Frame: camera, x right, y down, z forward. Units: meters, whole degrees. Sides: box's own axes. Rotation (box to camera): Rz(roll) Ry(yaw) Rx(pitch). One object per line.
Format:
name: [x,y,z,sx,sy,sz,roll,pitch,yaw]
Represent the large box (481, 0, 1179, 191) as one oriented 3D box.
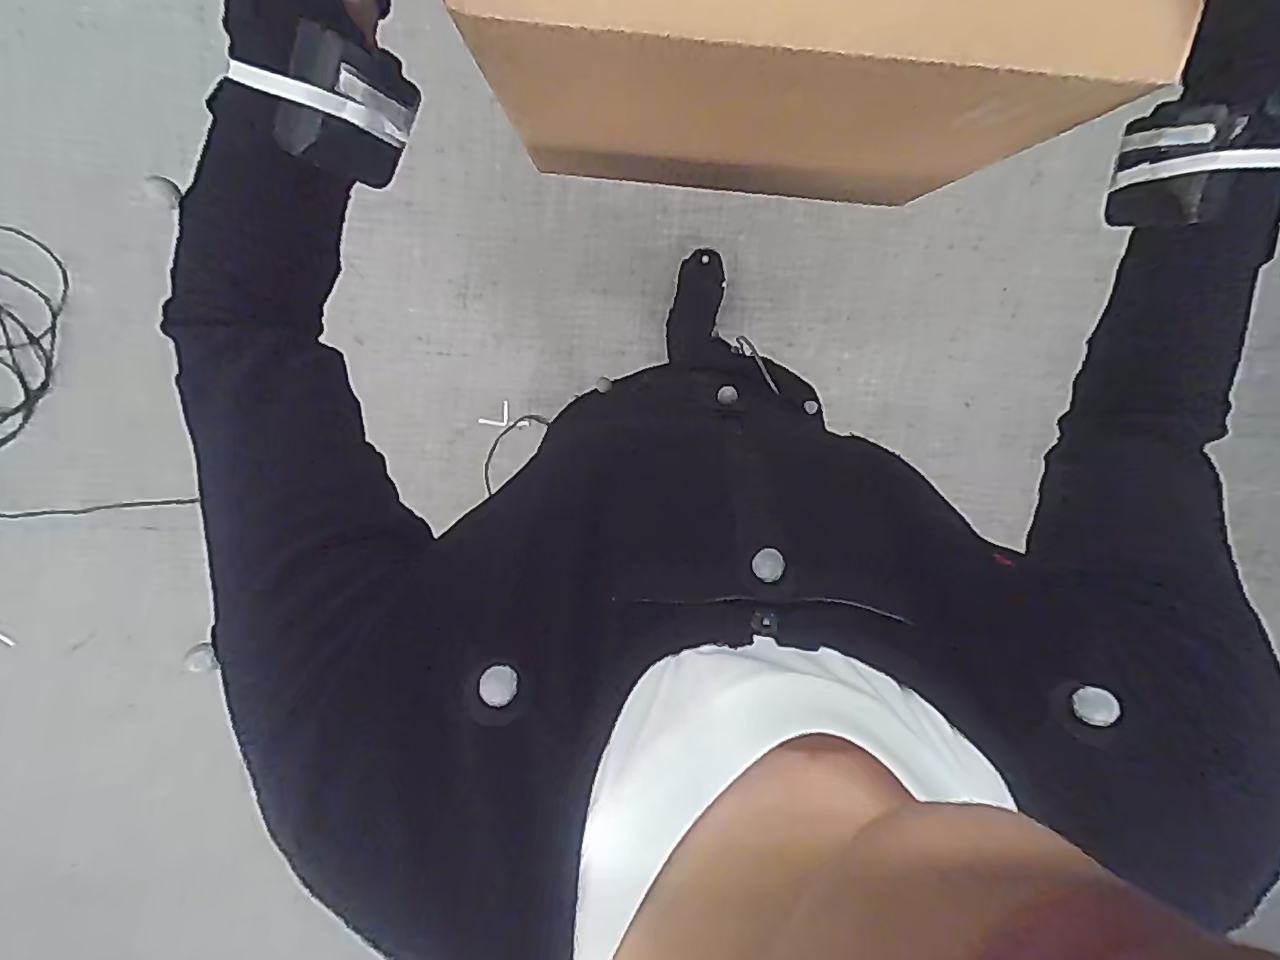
large box: [0.108,-0.434,0.410,0.408,0.320,0.320,3,106,-3]
